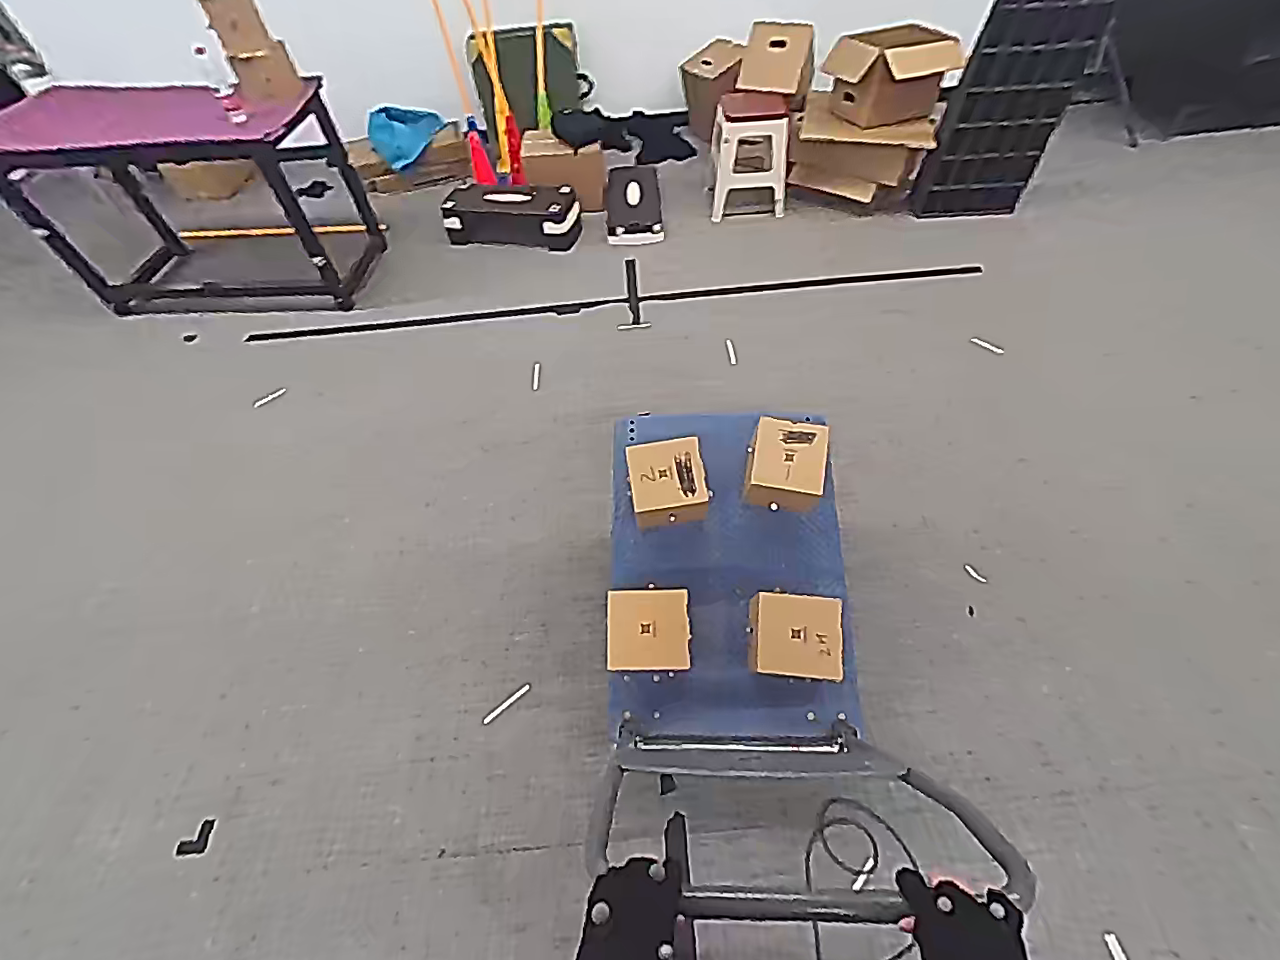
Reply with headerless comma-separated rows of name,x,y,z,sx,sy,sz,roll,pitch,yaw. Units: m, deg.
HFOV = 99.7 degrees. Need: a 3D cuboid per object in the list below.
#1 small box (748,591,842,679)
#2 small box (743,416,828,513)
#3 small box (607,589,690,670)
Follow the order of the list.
small box,0.338,0.348,1.203,0.179,0.176,0.168,4,72,5
small box,0.353,-0.034,1.334,0.168,0.176,0.179,10,73,7
small box,0.020,0.342,1.223,0.179,0.176,0.168,-2,71,1
